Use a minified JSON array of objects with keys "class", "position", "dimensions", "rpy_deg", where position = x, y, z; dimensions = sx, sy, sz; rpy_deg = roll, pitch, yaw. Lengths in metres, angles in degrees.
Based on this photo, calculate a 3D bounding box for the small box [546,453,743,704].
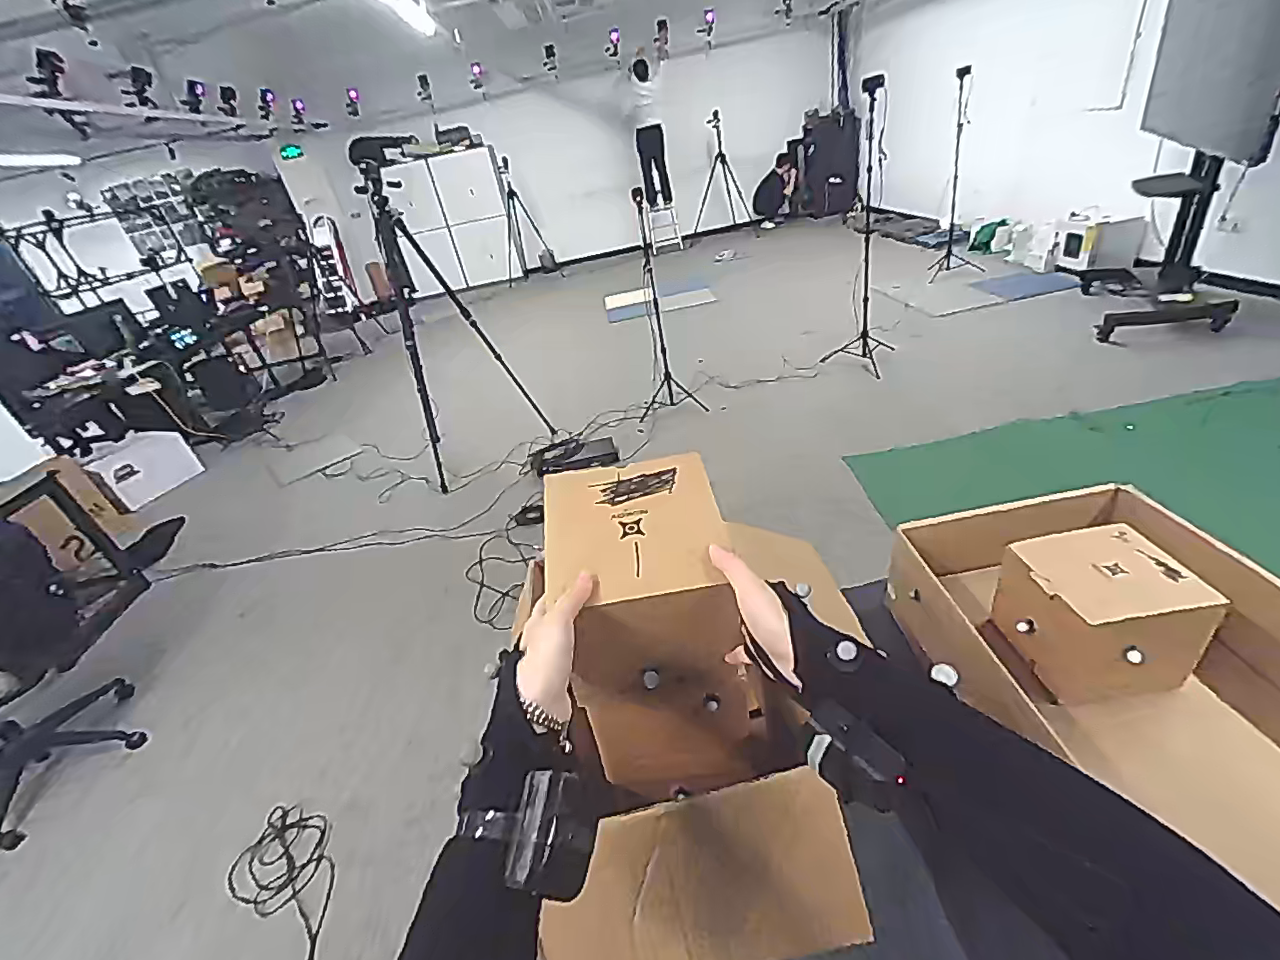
[{"class":"small box","position":[0.001,0.099,0.555],"dimensions":[0.168,0.176,0.179],"rpy_deg":[-9,43,-2]}]
